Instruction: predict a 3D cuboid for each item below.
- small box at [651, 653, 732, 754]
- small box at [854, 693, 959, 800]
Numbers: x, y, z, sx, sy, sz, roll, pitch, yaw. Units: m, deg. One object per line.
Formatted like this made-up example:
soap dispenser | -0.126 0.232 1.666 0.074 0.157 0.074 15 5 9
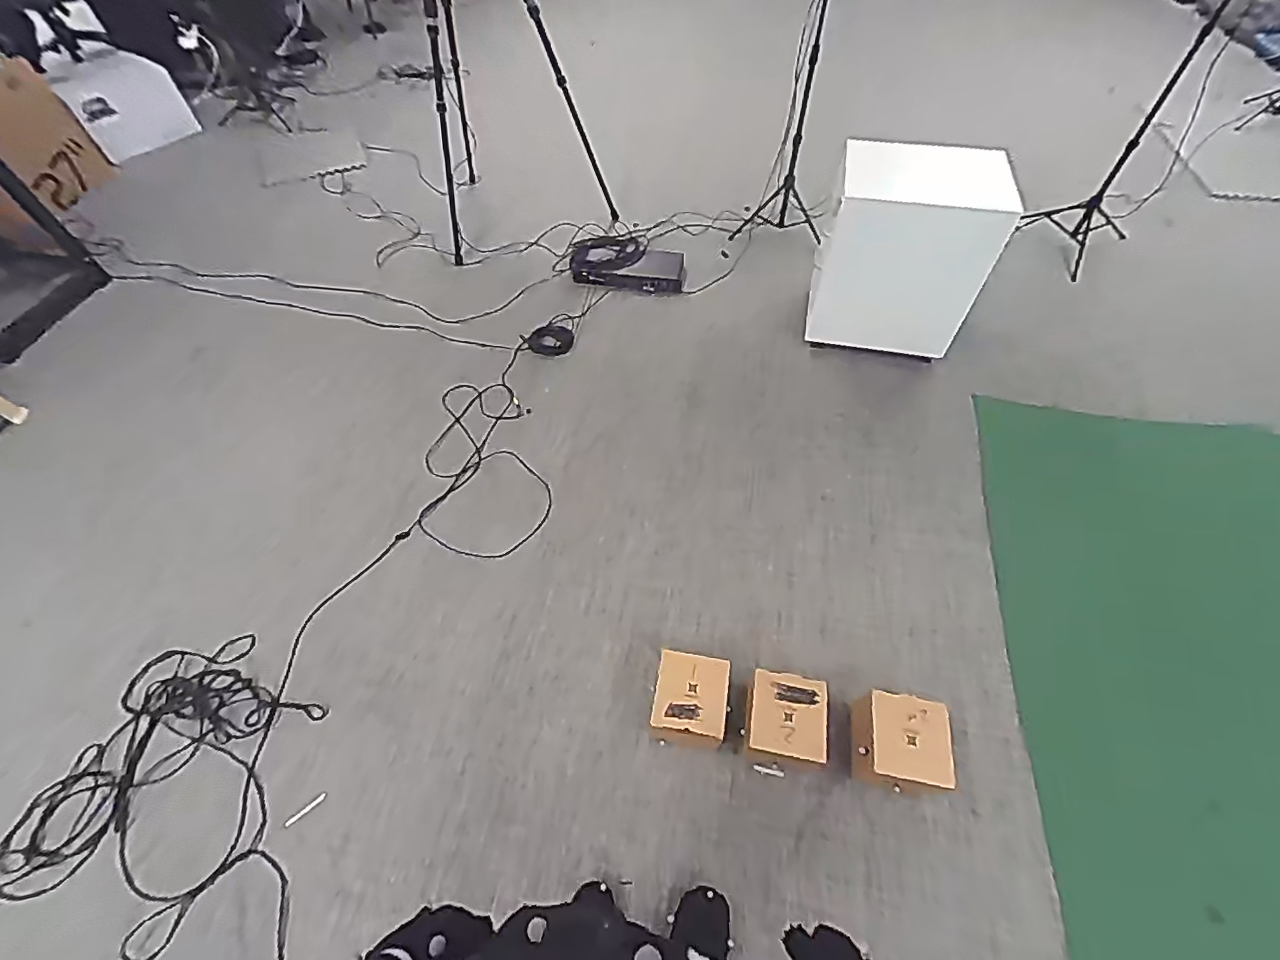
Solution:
small box | 0.125 0.540 1.297 0.168 0.176 0.179 7 54 8
small box | 0.597 0.610 1.230 0.168 0.176 0.179 9 55 8
